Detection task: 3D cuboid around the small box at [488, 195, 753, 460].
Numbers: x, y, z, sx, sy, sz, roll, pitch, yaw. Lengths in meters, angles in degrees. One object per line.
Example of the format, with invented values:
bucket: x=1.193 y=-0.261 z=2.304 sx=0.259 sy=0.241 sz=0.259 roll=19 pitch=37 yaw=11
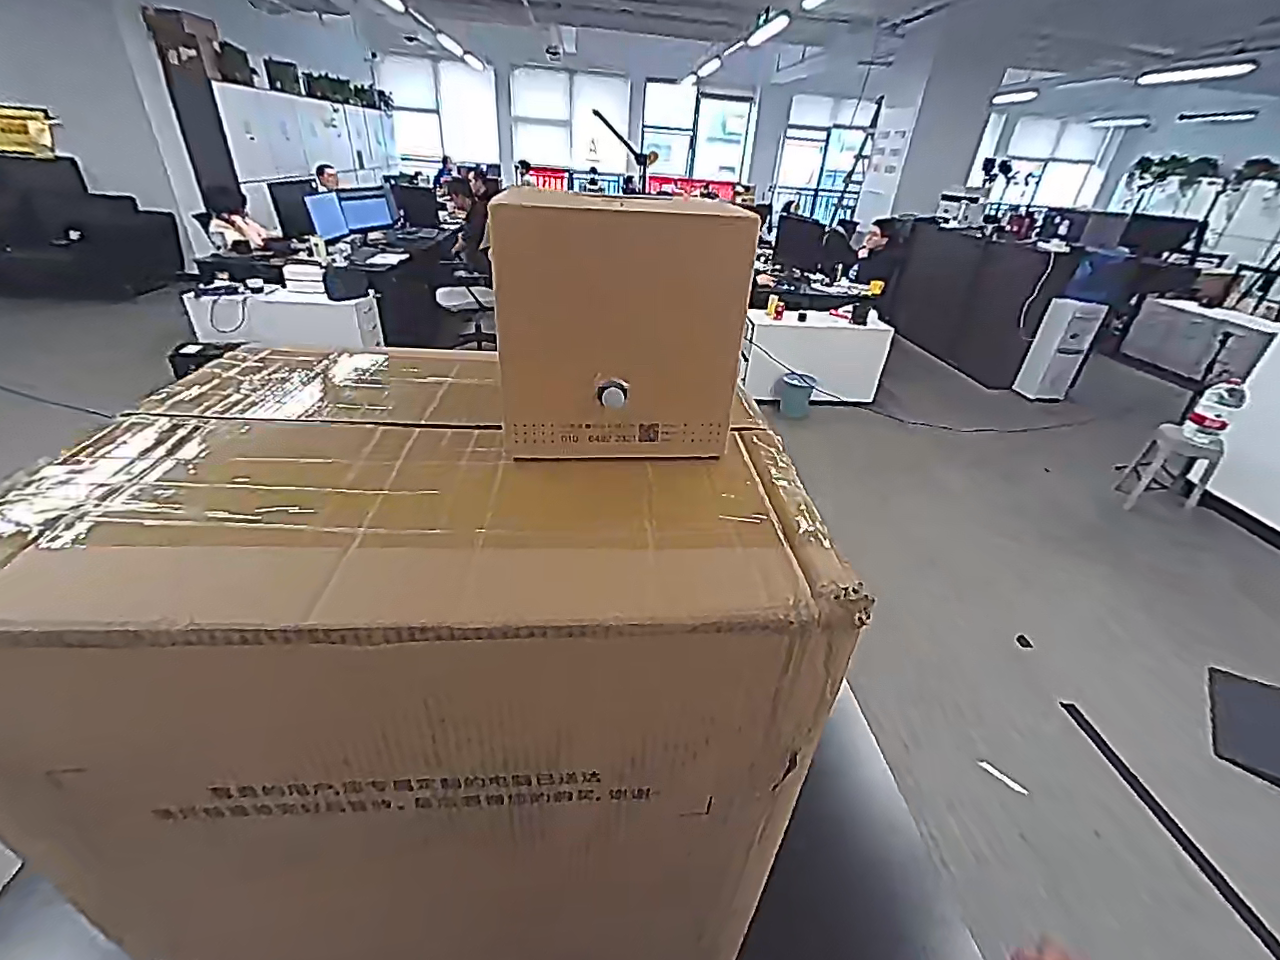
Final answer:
small box: x=-0.023 y=-0.128 z=0.438 sx=0.168 sy=0.176 sz=0.179 roll=-2 pitch=30 yaw=-7
